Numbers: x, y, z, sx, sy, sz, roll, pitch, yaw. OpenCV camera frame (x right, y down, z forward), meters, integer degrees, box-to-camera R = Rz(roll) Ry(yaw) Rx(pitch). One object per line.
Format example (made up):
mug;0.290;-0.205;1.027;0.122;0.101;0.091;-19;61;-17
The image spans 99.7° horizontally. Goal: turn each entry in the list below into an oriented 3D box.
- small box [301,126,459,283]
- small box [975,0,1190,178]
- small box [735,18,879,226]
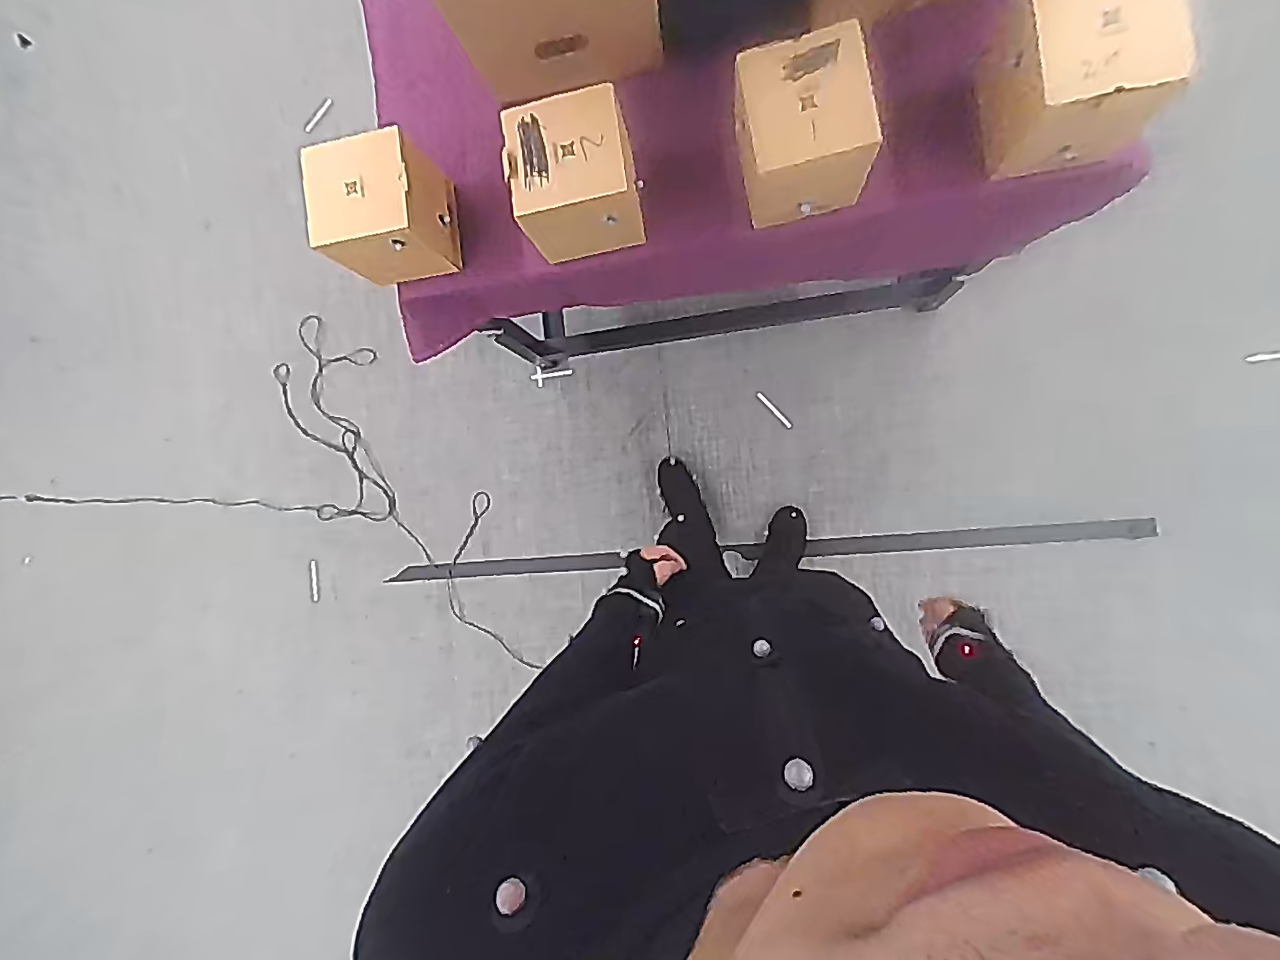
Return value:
small box;-0.435;-0.455;0.923;0.179;0.176;0.168;-7;88;8
small box;0.588;-0.559;0.745;0.168;0.176;0.179;-6;88;11
small box;0.236;-0.517;0.808;0.168;0.176;0.179;-10;88;10
